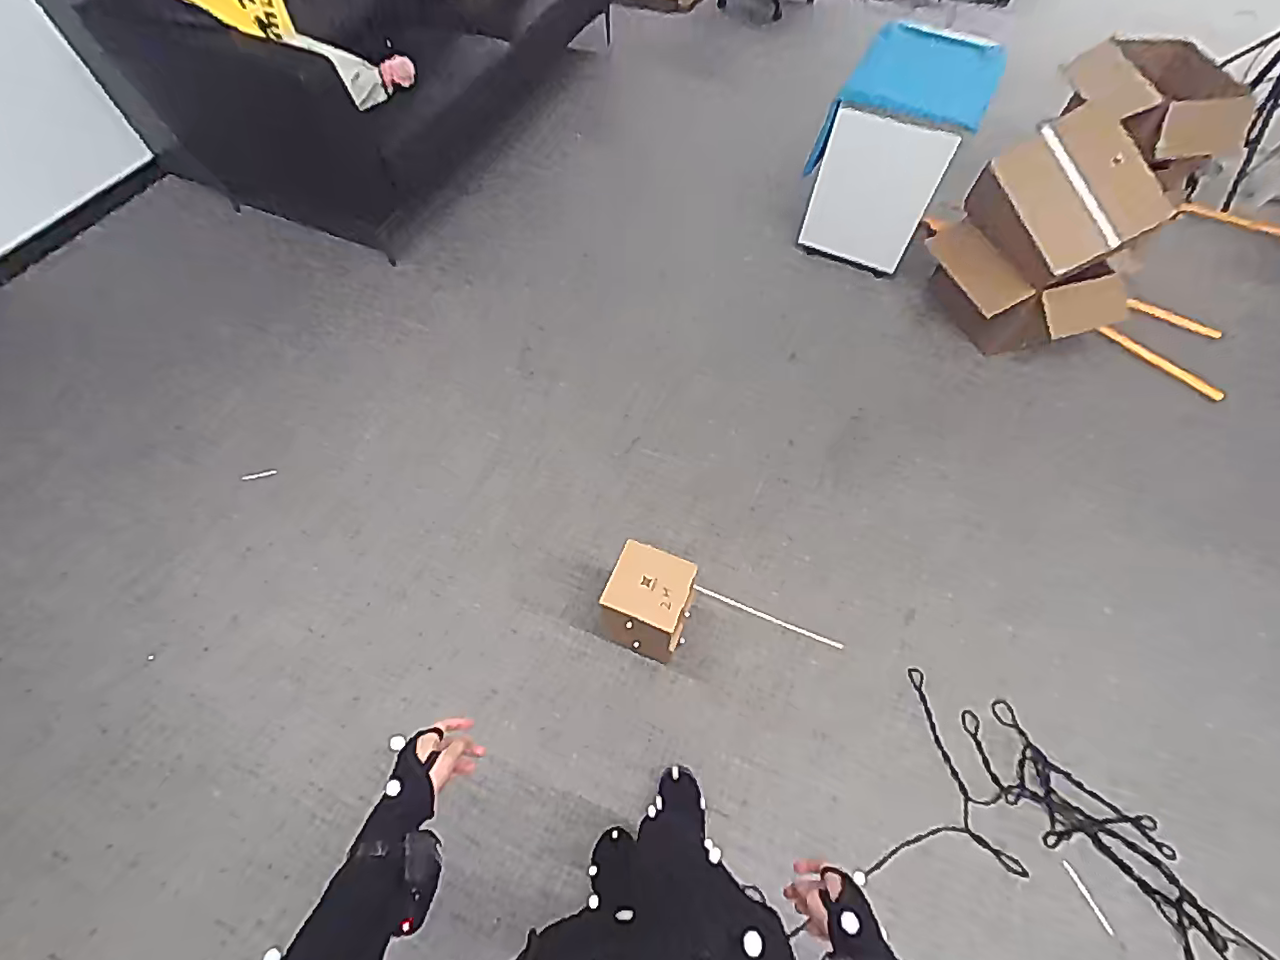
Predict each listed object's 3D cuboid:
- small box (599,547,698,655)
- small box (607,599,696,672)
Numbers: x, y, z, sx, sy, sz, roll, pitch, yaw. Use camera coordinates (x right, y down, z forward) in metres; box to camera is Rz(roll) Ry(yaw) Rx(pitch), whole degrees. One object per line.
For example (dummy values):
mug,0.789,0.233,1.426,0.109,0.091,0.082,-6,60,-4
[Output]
small box,0.020,0.286,1.251,0.179,0.176,0.168,20,62,12
small box,0.029,0.375,1.390,0.179,0.176,0.168,20,61,11
